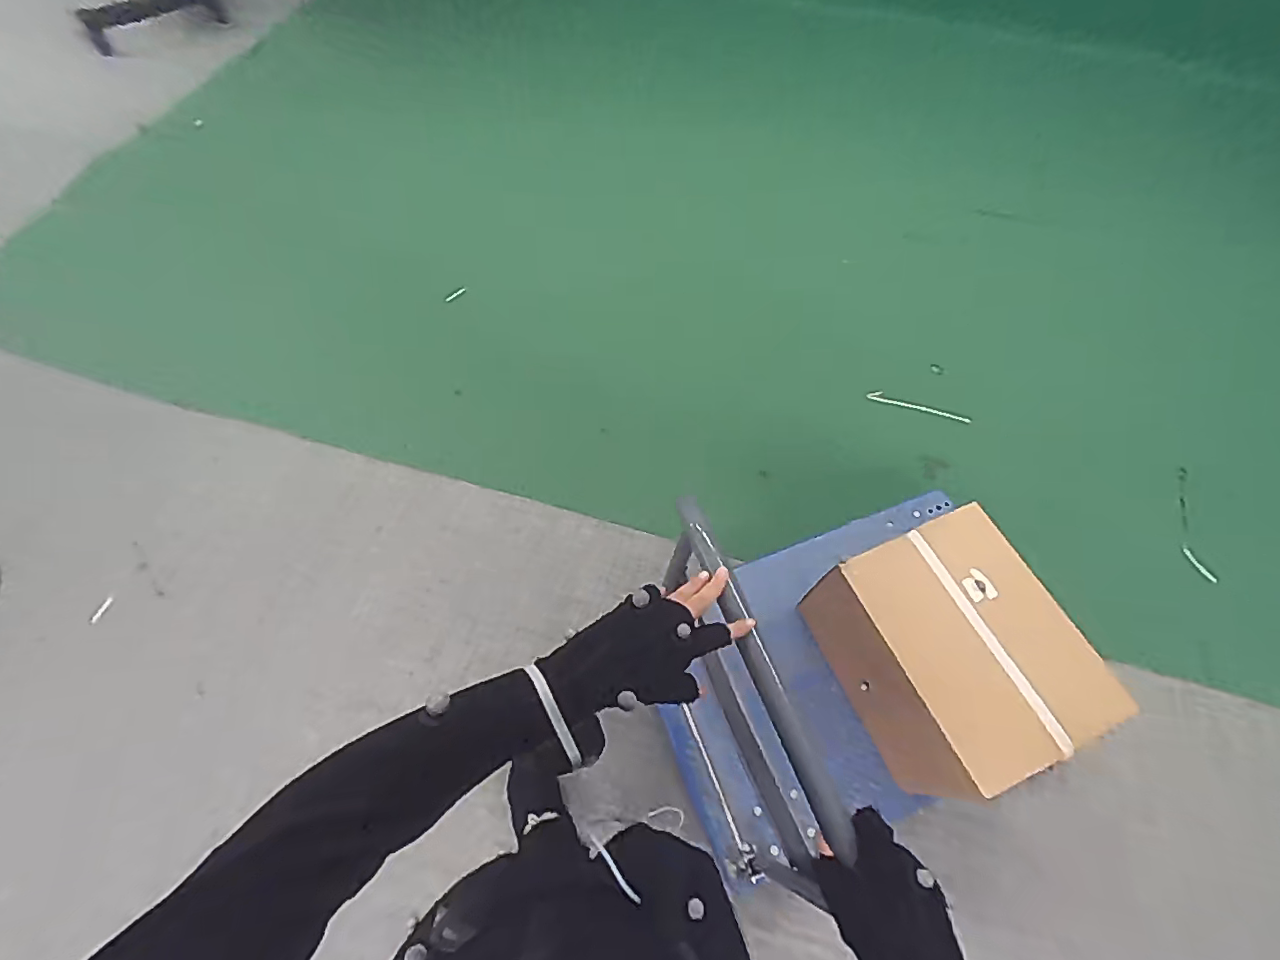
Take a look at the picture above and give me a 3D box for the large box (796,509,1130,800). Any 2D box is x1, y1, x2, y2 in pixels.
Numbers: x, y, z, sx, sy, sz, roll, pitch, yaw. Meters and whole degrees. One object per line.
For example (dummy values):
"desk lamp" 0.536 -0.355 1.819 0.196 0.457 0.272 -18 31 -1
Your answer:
"large box" 0.565 0.336 1.046 0.320 0.320 0.408 -21 63 -10
